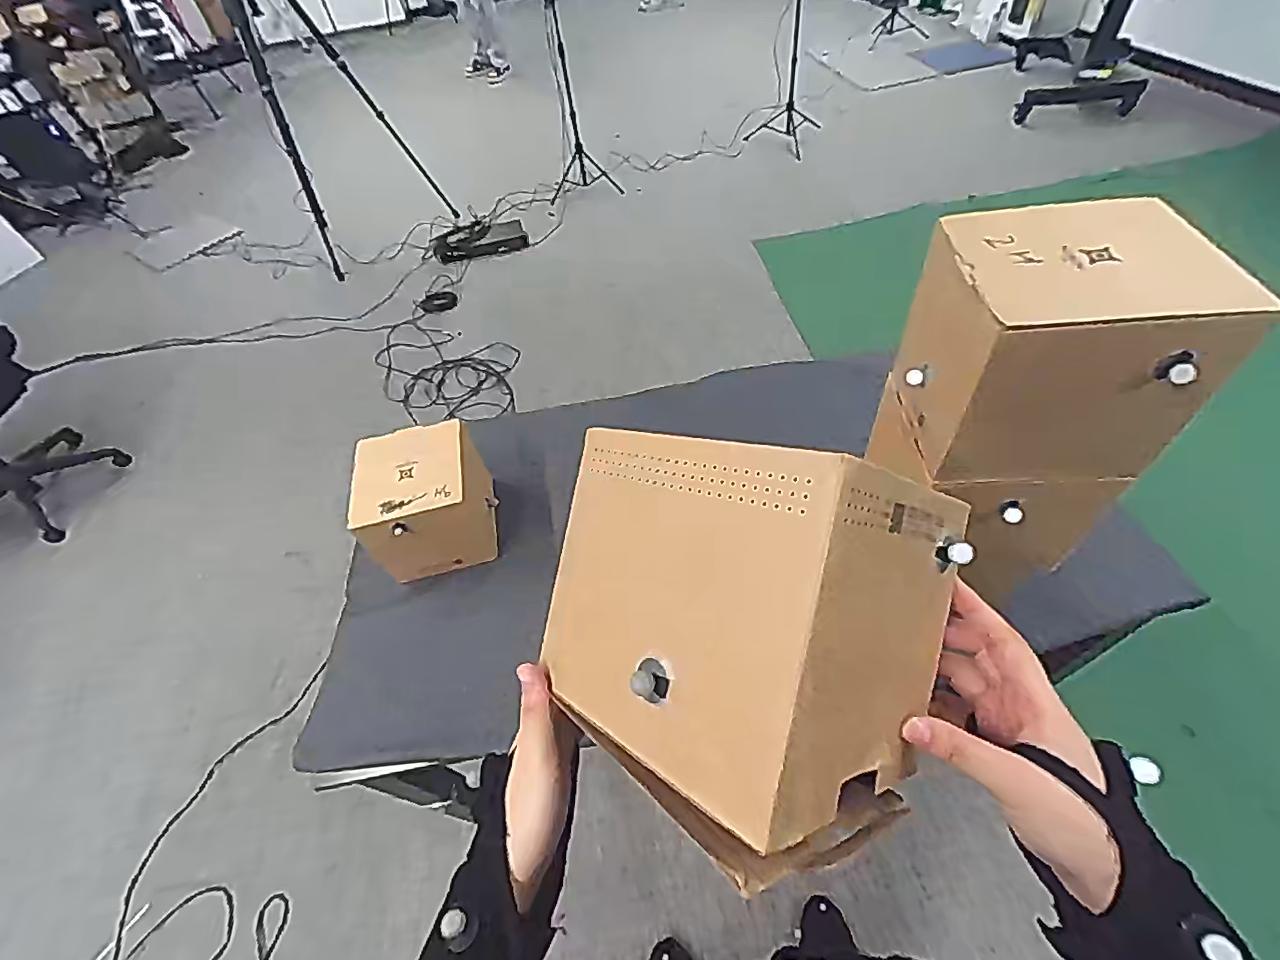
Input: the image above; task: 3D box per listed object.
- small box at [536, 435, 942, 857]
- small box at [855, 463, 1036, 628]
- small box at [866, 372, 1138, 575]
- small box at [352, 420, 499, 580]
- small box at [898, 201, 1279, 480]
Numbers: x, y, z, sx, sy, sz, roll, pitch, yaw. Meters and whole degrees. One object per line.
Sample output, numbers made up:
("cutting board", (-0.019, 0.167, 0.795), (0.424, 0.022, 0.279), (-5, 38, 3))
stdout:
("small box", (0.062, 0.071, 0.331), (0.179, 0.168, 0.176), (13, 90, 48))
("small box", (0.384, 0.084, 0.728), (0.168, 0.176, 0.179), (-11, 51, 1))
("small box", (0.367, -0.007, 0.594), (0.179, 0.176, 0.168), (-3, 50, 8))
("small box", (-0.334, 0.034, 0.875), (0.168, 0.176, 0.179), (-13, 52, -3))
("small box", (0.349, -0.113, 0.469), (0.179, 0.176, 0.168), (-2, 50, 9))
